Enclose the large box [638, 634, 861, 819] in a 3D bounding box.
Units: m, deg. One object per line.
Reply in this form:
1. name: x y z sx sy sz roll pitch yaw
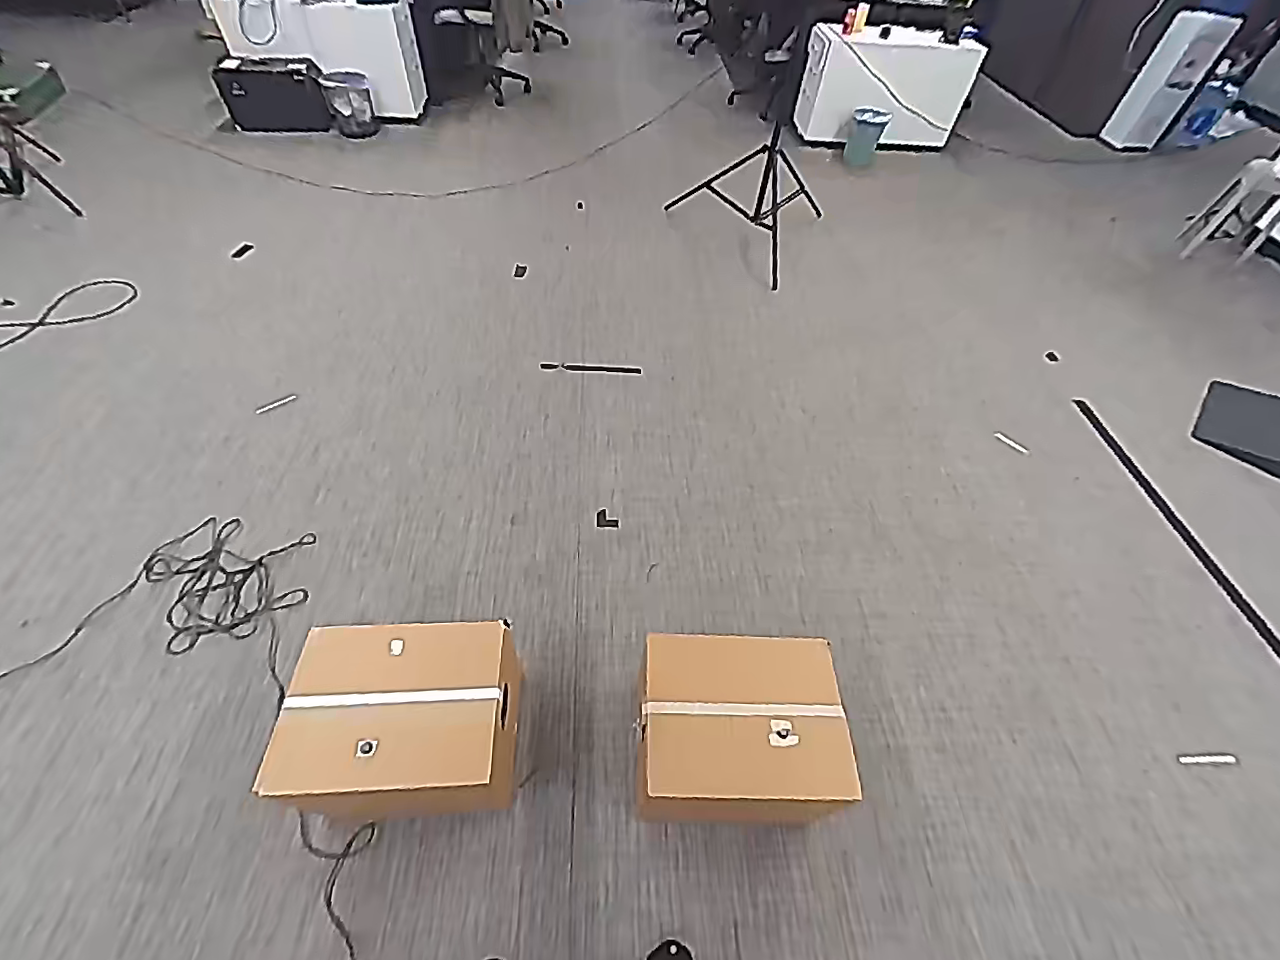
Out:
1. large box: 0.207 0.557 1.212 0.408 0.320 0.320 3 51 -3
